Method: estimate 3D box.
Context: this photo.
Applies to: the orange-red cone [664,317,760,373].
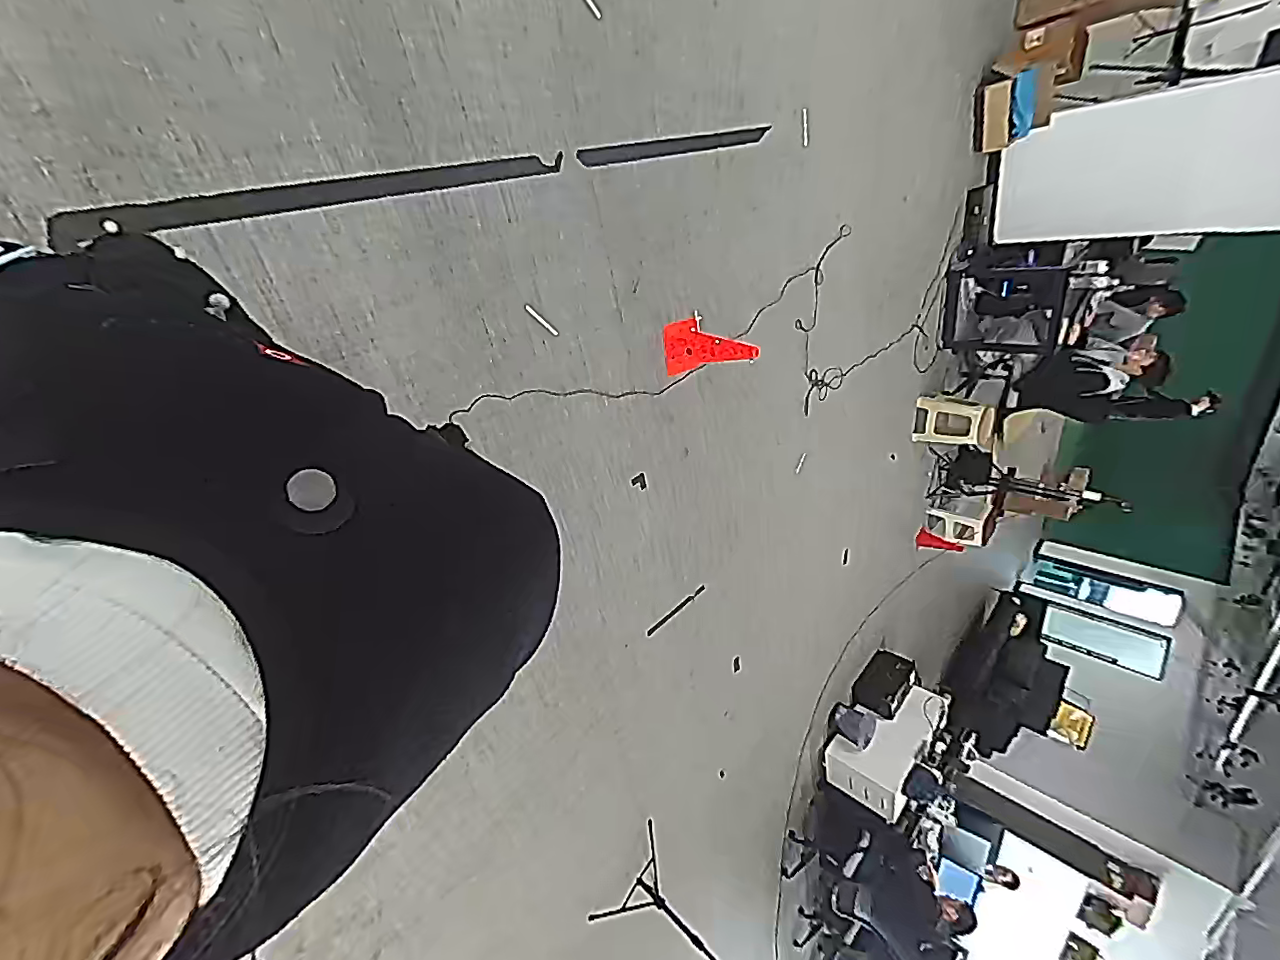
[{"bbox_3d":[0.285,-0.494,2.008,0.199,0.360,0.198,-25,119,-37],"label":"orange-red cone"}]
